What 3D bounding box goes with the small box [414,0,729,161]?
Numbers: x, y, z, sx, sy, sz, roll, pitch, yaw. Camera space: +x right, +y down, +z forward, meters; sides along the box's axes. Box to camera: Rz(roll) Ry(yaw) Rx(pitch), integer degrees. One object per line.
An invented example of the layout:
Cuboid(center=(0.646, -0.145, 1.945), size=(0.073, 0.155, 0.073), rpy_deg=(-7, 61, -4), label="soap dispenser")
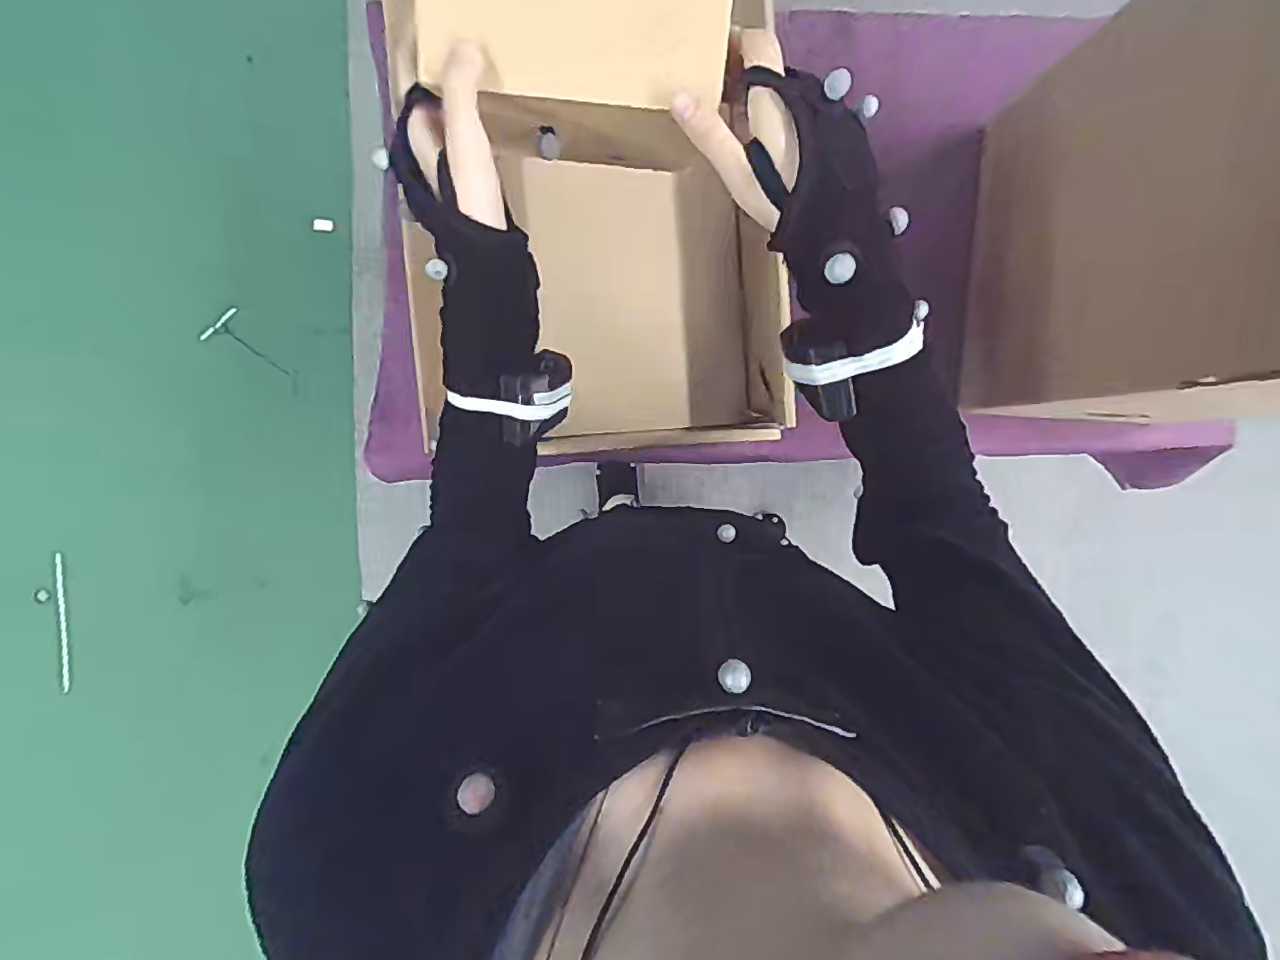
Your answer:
Cuboid(center=(-0.031, -0.316, 0.338), size=(0.168, 0.176, 0.179), rpy_deg=(4, 111, -3), label="small box")
